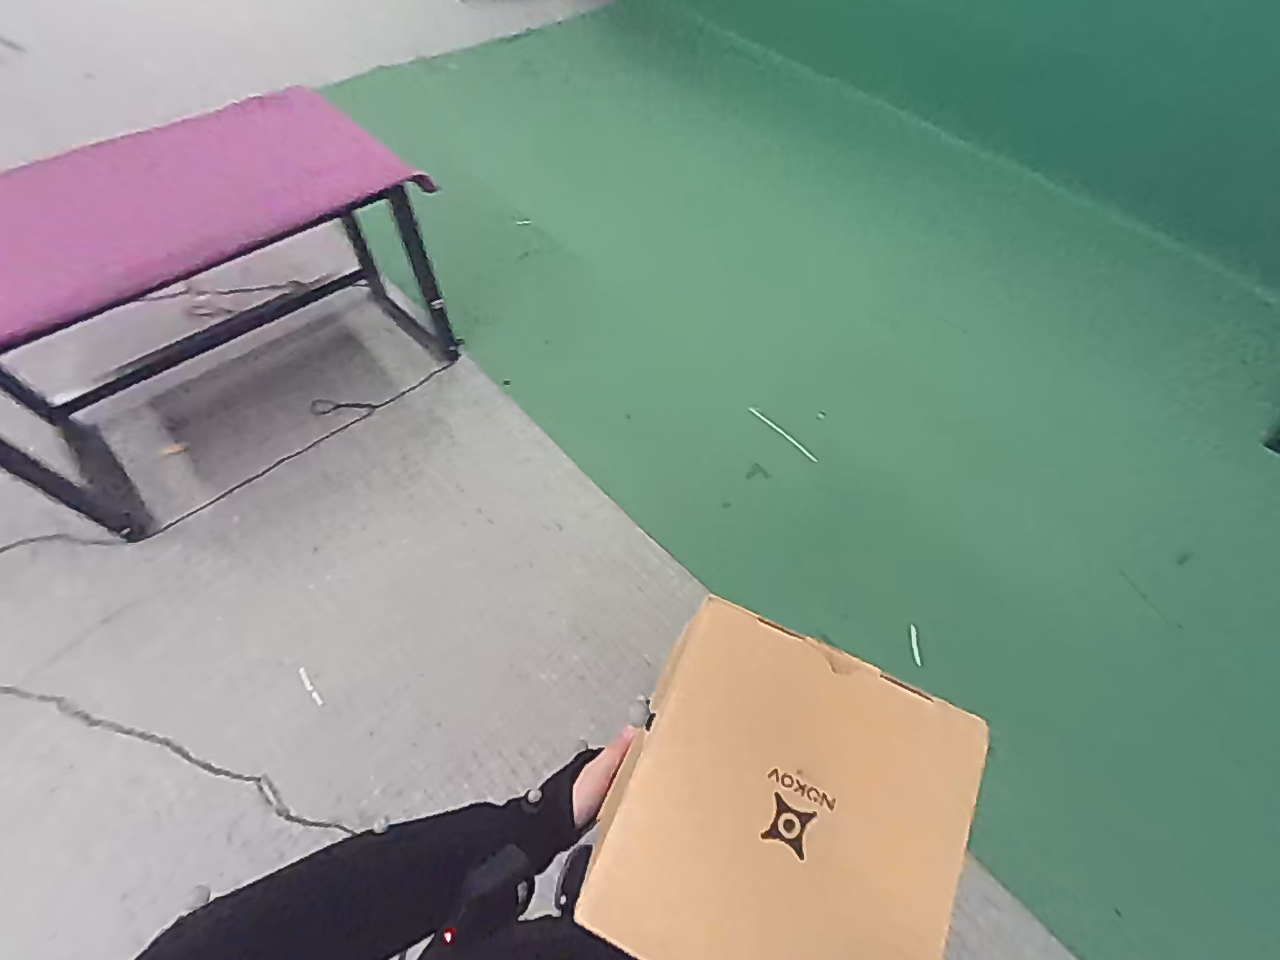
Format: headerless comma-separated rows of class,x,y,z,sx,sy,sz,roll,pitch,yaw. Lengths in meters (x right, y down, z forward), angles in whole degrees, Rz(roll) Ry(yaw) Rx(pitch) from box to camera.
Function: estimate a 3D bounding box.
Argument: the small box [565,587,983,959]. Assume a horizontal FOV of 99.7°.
small box,0.073,0.196,0.344,0.168,0.176,0.179,23,68,9
